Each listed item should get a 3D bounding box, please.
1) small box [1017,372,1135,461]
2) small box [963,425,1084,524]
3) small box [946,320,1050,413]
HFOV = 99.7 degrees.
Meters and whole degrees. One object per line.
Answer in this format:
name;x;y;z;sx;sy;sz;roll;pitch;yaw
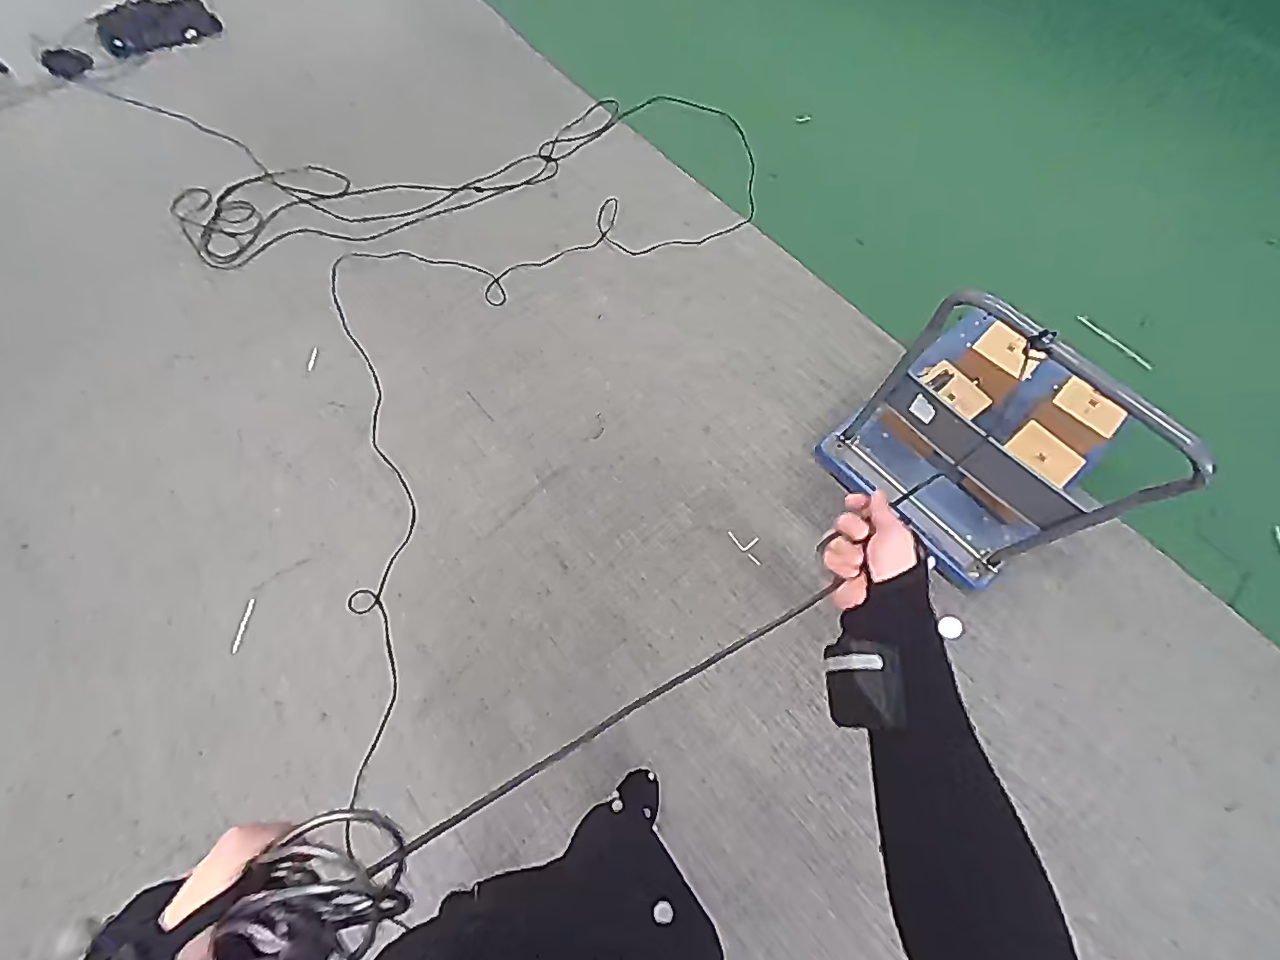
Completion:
small box;1.232;-0.167;1.543;0.179;0.176;0.168;-41;72;-17
small box;1.026;-0.011;1.464;0.179;0.176;0.168;-37;72;-16
small box;1.056;-0.332;1.613;0.179;0.176;0.168;-41;73;-18
